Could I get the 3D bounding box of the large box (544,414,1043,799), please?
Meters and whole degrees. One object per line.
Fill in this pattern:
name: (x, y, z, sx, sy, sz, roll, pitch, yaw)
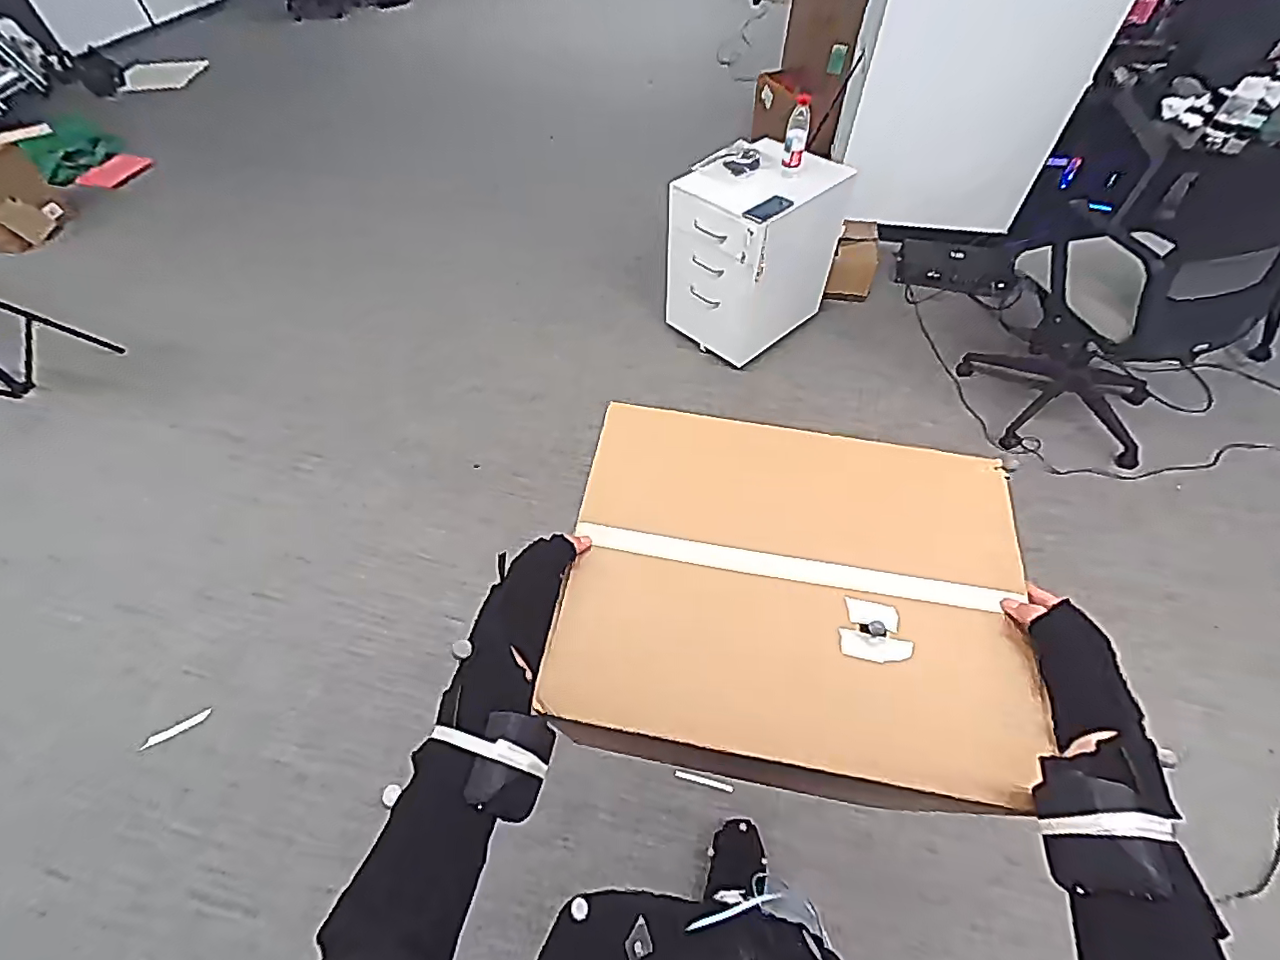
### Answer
large box: (0.135, 0.159, 0.627, 0.408, 0.320, 0.320, 9, 61, 4)
